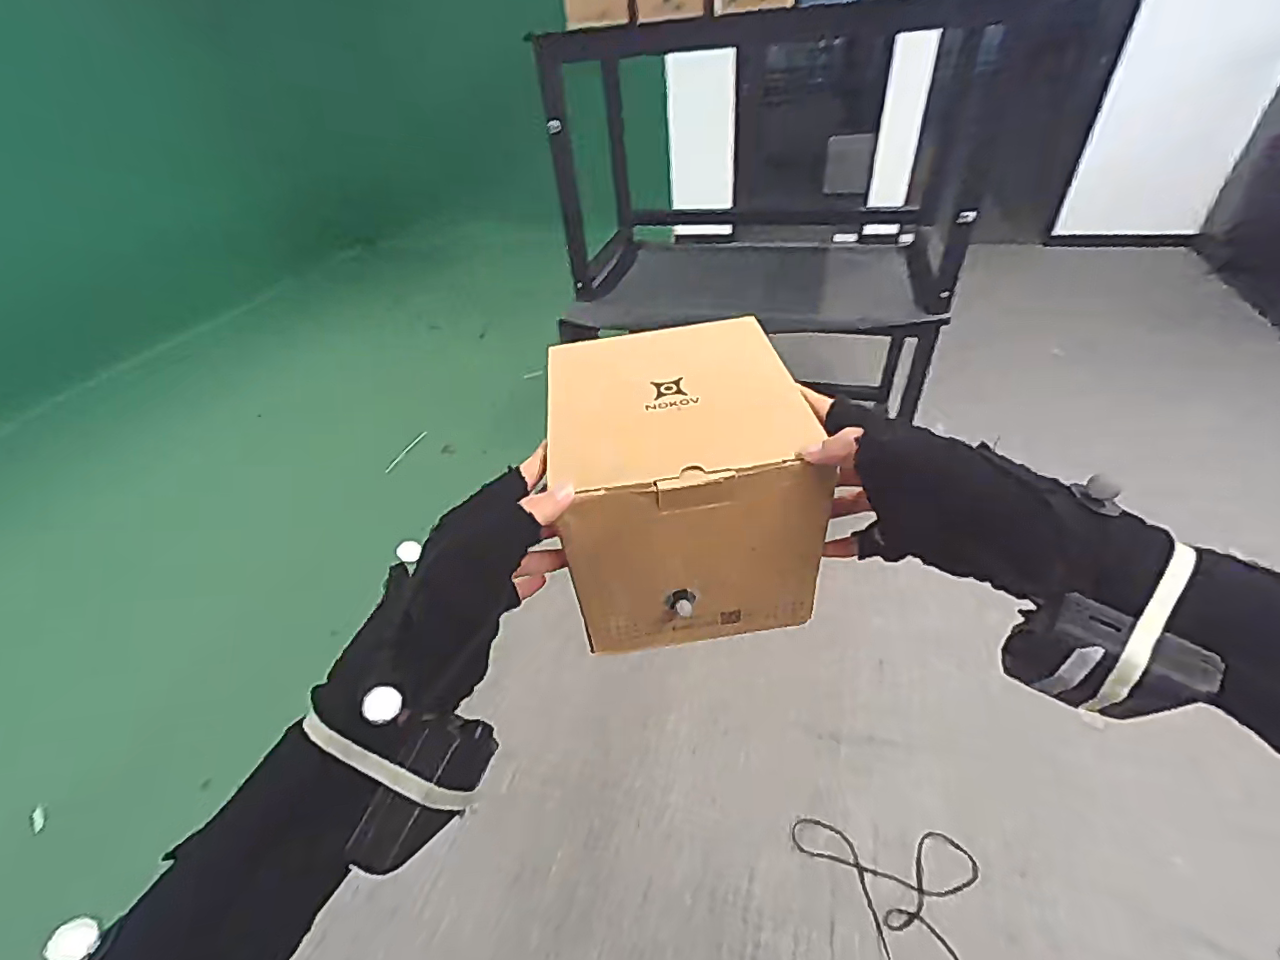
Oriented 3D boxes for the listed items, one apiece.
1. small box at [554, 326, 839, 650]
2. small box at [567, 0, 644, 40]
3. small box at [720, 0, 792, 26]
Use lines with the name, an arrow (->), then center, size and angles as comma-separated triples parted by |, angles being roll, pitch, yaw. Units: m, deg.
small box -> 0.032, 0.004, 0.419 | 0.168, 0.176, 0.179 | -8, 42, 0
small box -> -0.090, -1.278, 1.429 | 0.168, 0.176, 0.179 | 8, 43, 15
small box -> 0.285, -1.217, 1.308 | 0.168, 0.176, 0.179 | 6, 41, 14
